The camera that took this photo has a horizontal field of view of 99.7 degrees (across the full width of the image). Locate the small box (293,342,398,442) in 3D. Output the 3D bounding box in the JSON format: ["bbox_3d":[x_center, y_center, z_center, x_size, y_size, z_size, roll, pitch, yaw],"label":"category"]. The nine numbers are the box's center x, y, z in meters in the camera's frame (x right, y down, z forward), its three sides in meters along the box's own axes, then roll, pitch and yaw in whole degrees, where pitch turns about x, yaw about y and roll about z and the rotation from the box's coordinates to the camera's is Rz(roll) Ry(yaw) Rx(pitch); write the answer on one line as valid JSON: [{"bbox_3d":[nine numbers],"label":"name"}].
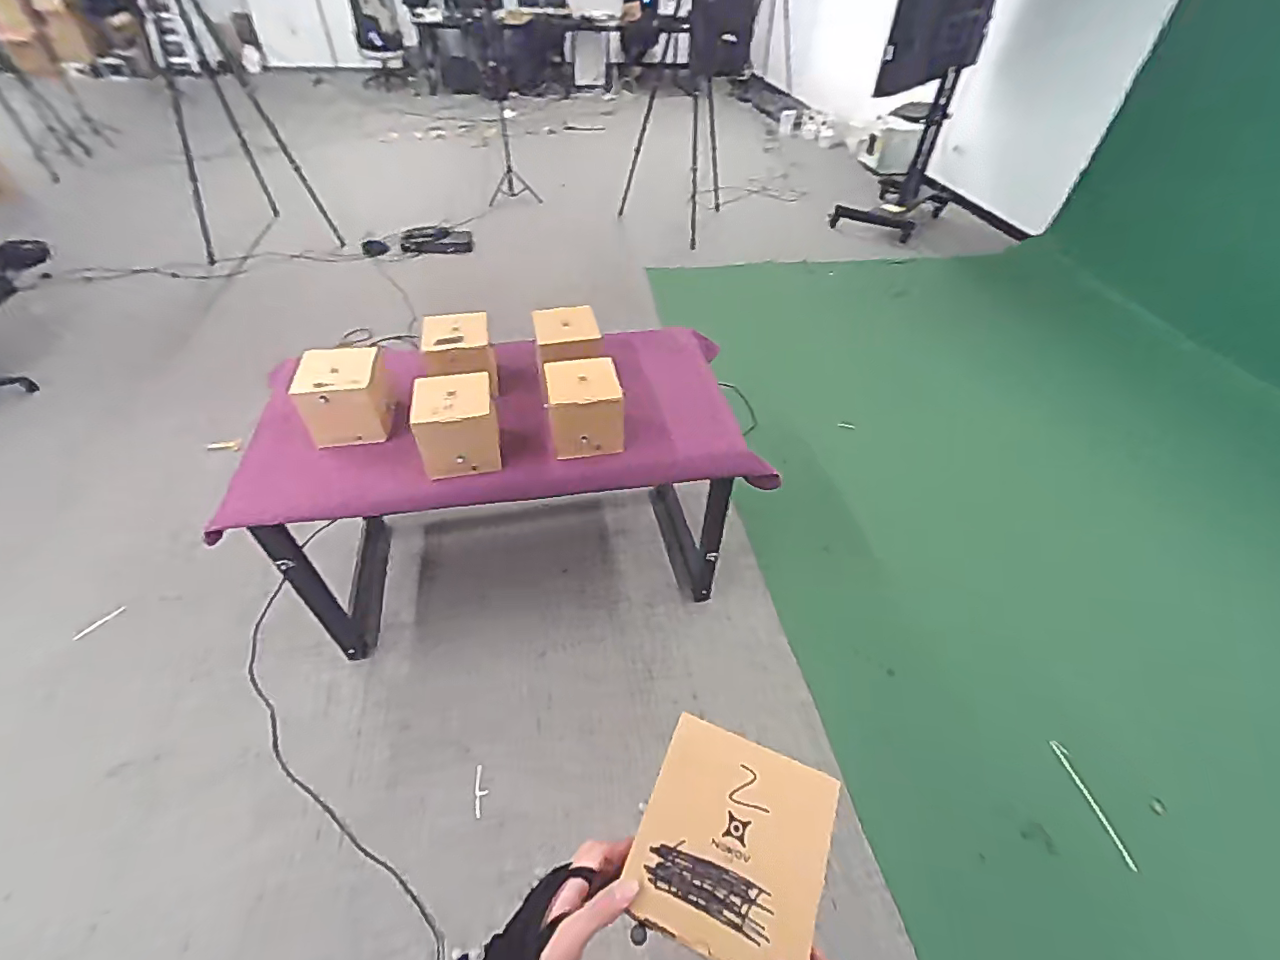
[{"bbox_3d":[-0.707,-0.216,1.325,0.168,0.176,0.179,-7,46,-8],"label":"small box"}]

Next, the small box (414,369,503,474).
[{"bbox_3d":[-0.417,-0.138,1.265,0.168,0.176,0.179,-8,46,-10],"label":"small box"}]

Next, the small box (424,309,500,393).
[{"bbox_3d":[-0.473,-0.339,1.459,0.168,0.176,0.179,-7,46,-10],"label":"small box"}]

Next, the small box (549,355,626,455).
[{"bbox_3d":[-0.131,-0.184,1.328,0.168,0.176,0.179,-7,47,-10],"label":"small box"}]

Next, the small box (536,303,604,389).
[{"bbox_3d":[-0.194,-0.370,1.505,0.168,0.176,0.179,-8,48,-9],"label":"small box"}]
